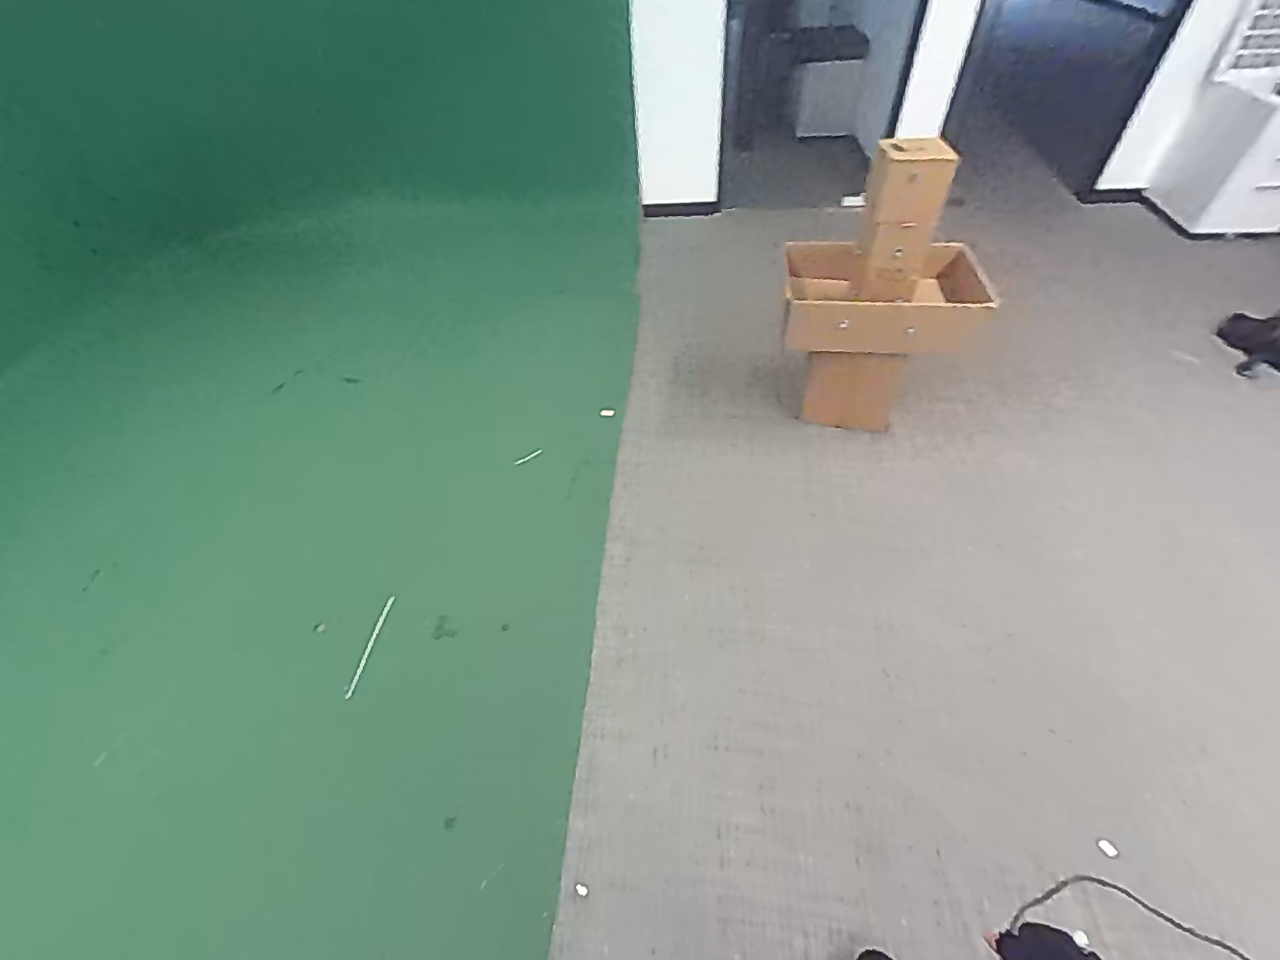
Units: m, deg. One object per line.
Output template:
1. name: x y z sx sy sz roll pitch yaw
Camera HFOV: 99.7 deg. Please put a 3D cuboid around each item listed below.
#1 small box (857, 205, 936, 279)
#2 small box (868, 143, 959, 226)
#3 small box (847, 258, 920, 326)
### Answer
1. small box: 0.788 -0.738 1.678 0.168 0.176 0.179 2 49 5
2. small box: 0.772 -0.846 1.553 0.179 0.176 0.168 1 49 4
3. small box: 0.803 -0.627 1.797 0.168 0.176 0.179 2 47 5
